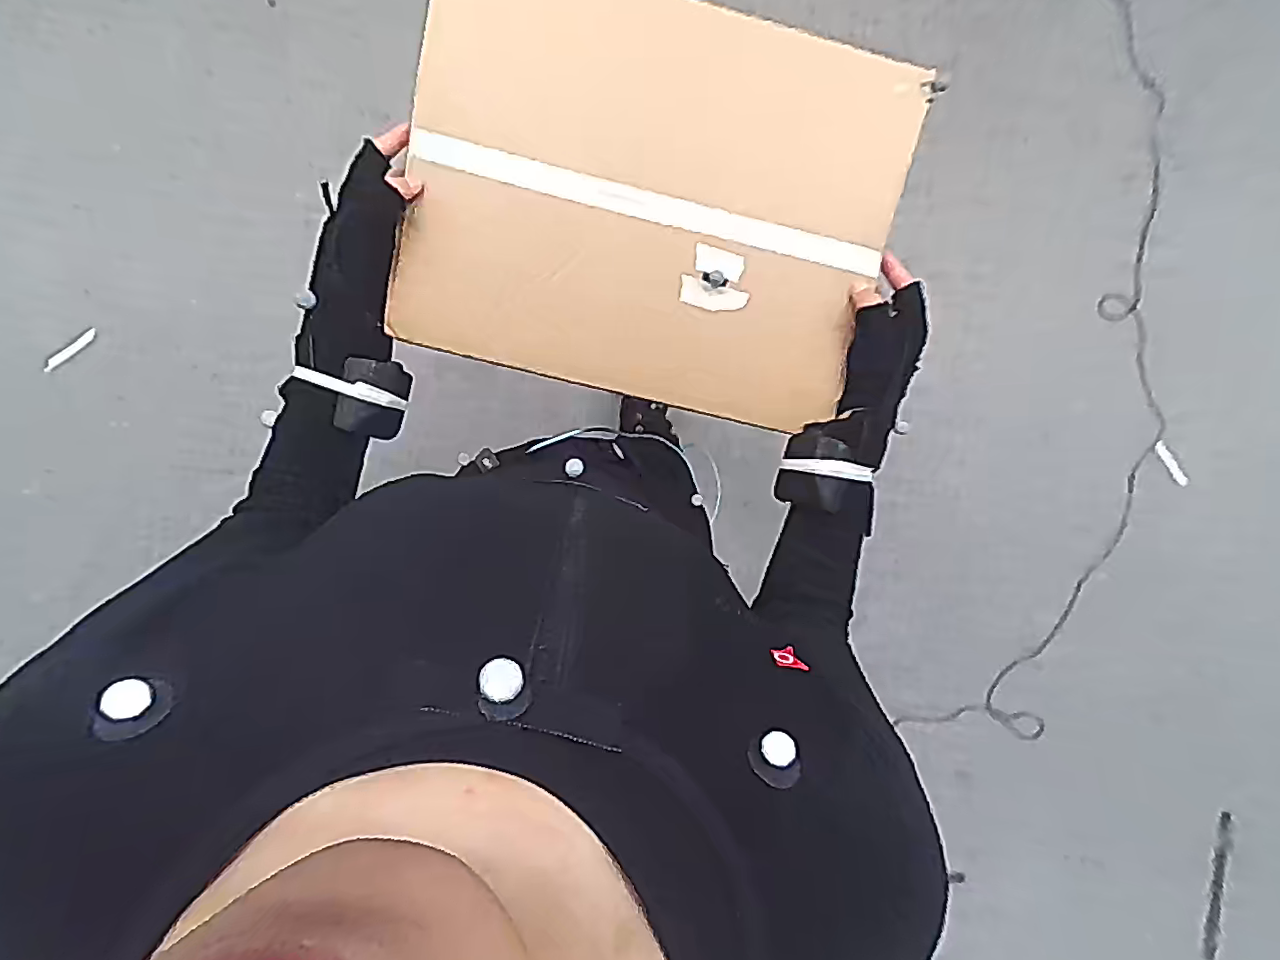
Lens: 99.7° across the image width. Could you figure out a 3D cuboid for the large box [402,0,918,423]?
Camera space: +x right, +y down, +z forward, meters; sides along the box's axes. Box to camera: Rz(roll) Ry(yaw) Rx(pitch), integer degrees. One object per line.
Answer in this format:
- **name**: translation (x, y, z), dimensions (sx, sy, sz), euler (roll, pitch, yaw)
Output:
- **large box**: translation (0.004, -0.266, 0.613), dimensions (0.408, 0.320, 0.320), euler (13, 101, -5)
